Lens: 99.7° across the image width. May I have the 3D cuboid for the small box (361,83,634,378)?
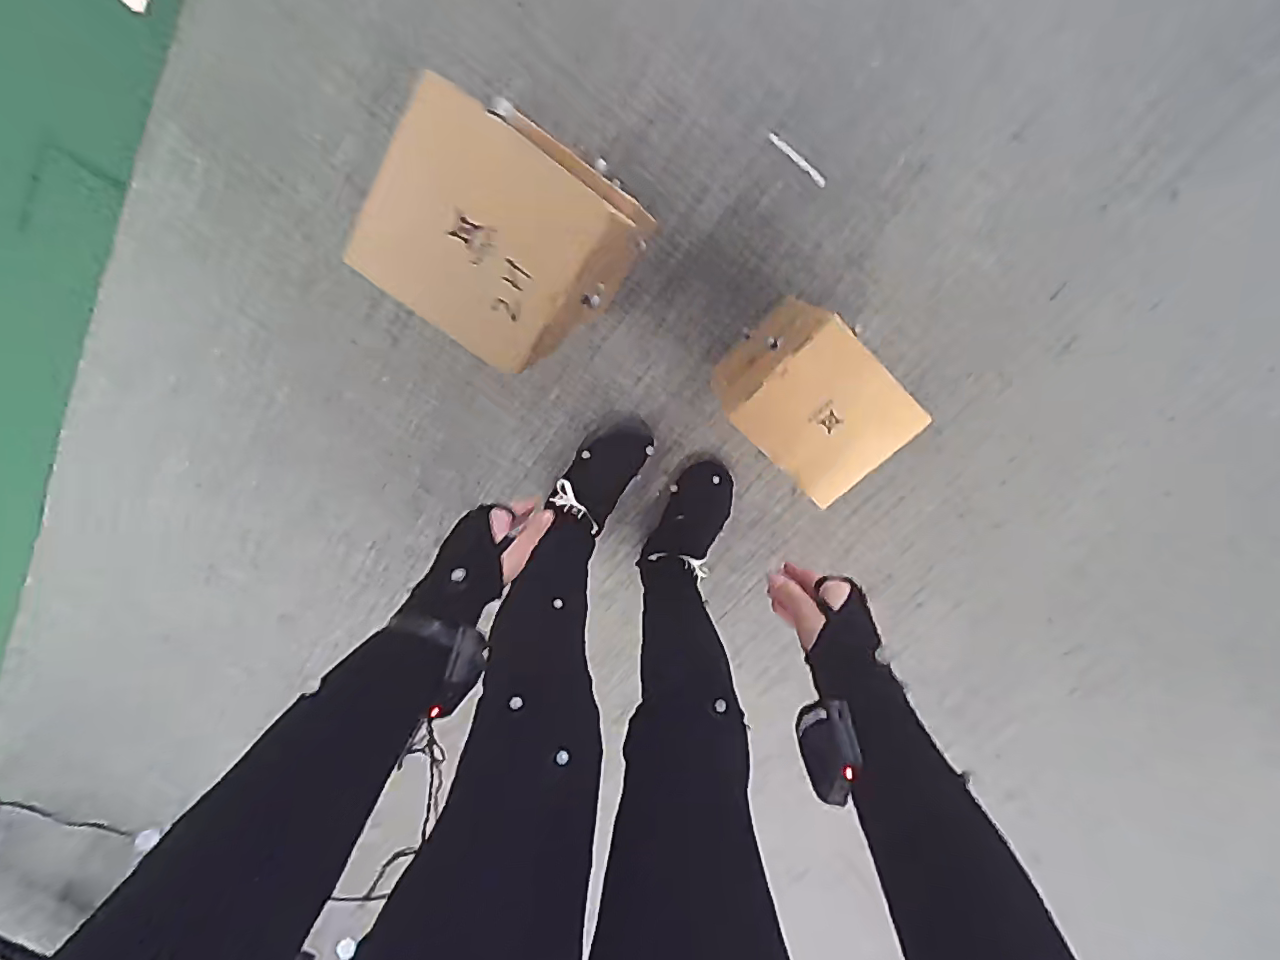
[{"bbox_3d":[-0.122,-0.228,0.529,0.179,0.176,0.168,34,110,-11],"label":"small box"}]

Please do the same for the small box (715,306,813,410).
[{"bbox_3d":[0.239,-0.157,0.872,0.168,0.176,0.179,43,110,-11],"label":"small box"}]

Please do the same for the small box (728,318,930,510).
[{"bbox_3d":[0.236,-0.098,0.720,0.179,0.176,0.168,42,109,-9],"label":"small box"}]

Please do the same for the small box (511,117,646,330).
[{"bbox_3d":[-0.104,-0.299,0.677,0.168,0.176,0.179,34,110,-8],"label":"small box"}]
